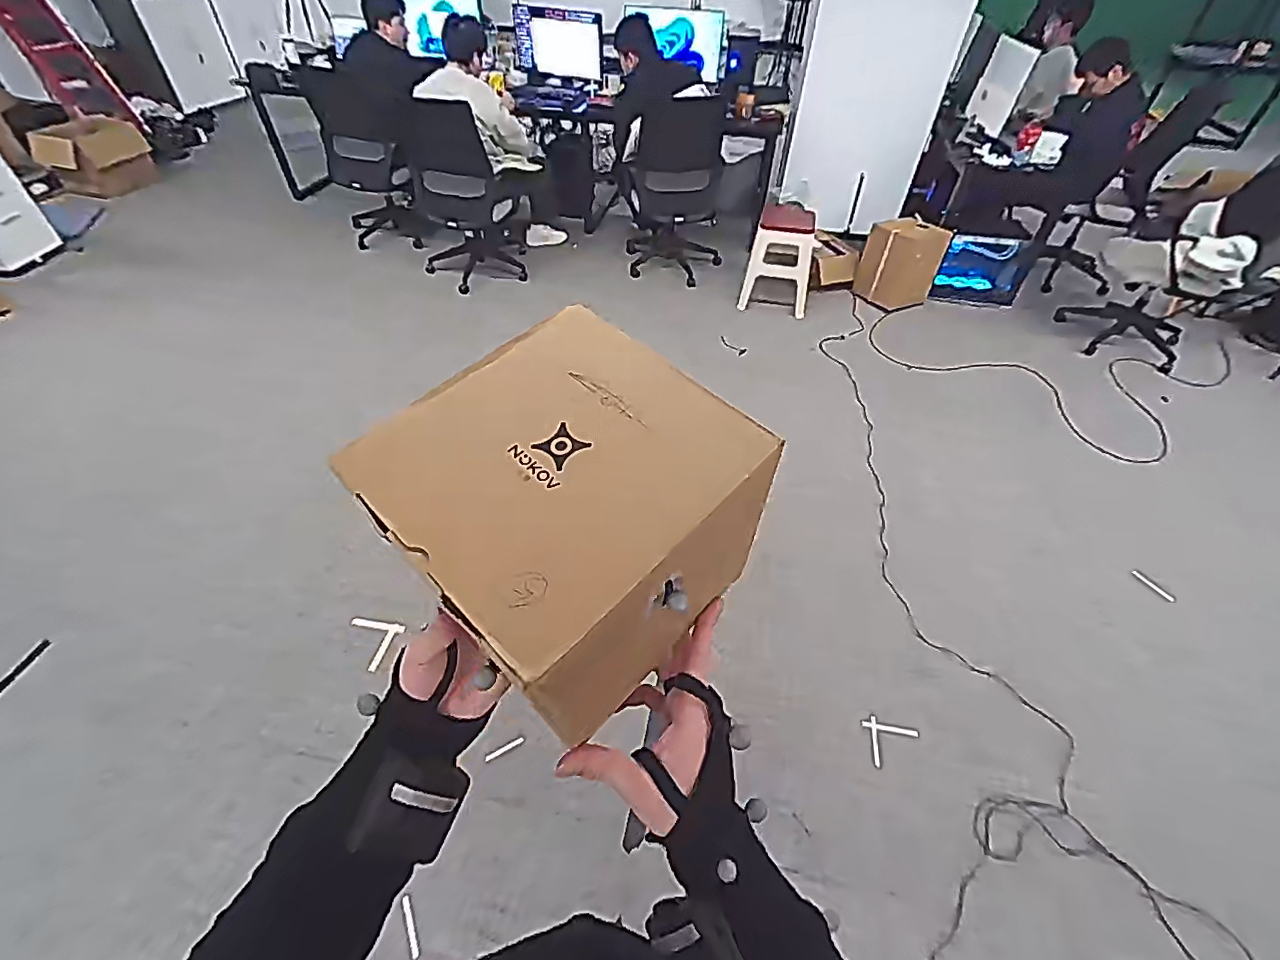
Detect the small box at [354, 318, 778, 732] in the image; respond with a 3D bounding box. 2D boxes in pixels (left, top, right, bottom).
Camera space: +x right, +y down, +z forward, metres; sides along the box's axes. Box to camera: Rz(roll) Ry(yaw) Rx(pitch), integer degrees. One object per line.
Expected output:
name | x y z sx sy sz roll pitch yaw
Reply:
small box | -0.037 0.034 0.358 0.168 0.176 0.179 38 64 23
